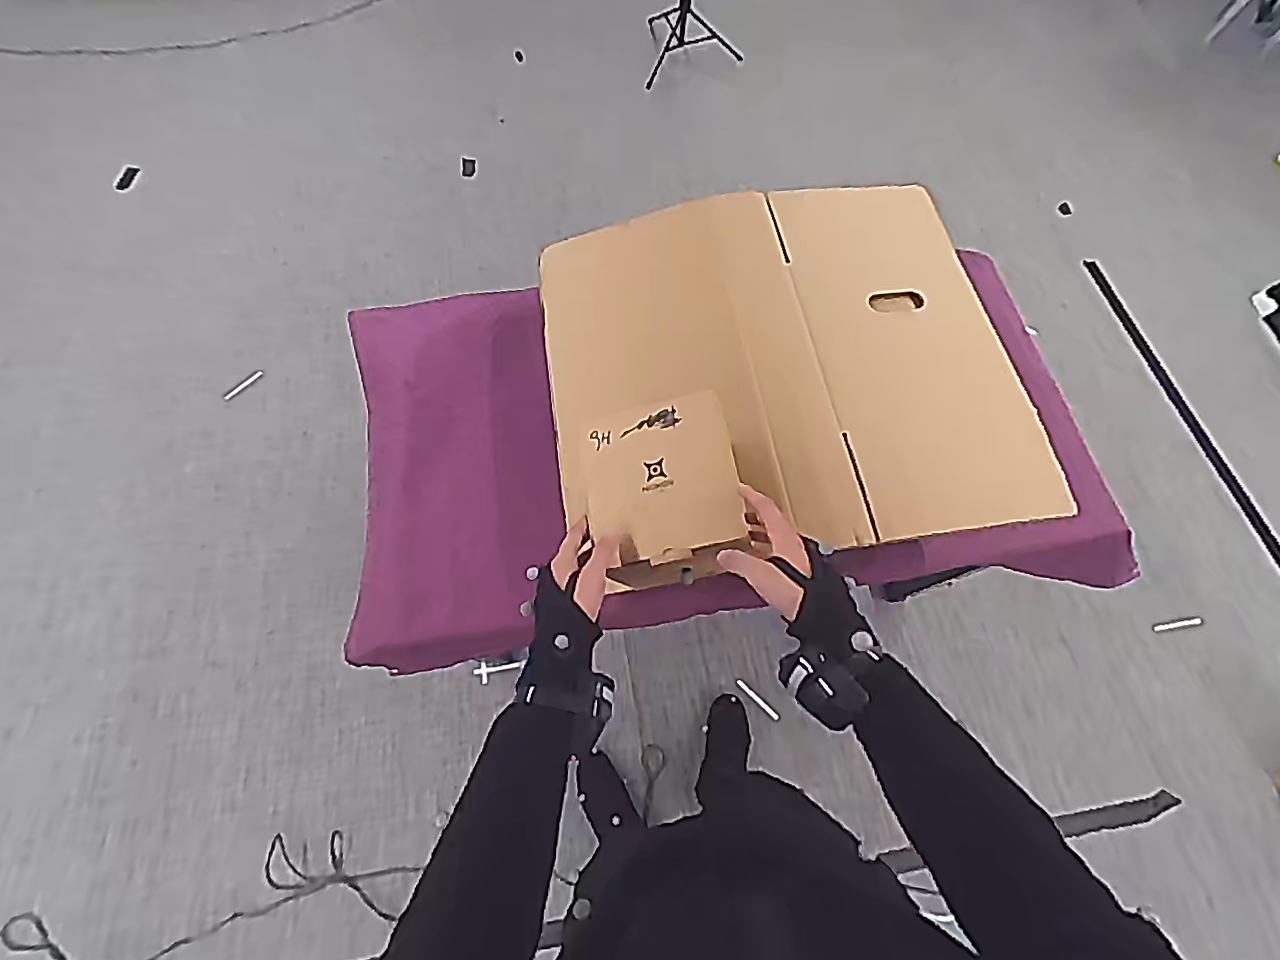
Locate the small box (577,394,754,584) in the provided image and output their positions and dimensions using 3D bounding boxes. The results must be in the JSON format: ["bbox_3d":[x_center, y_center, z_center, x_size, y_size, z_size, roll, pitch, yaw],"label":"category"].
[{"bbox_3d":[0.038,0.025,0.658,0.168,0.176,0.179,-14,70,11],"label":"small box"}]
